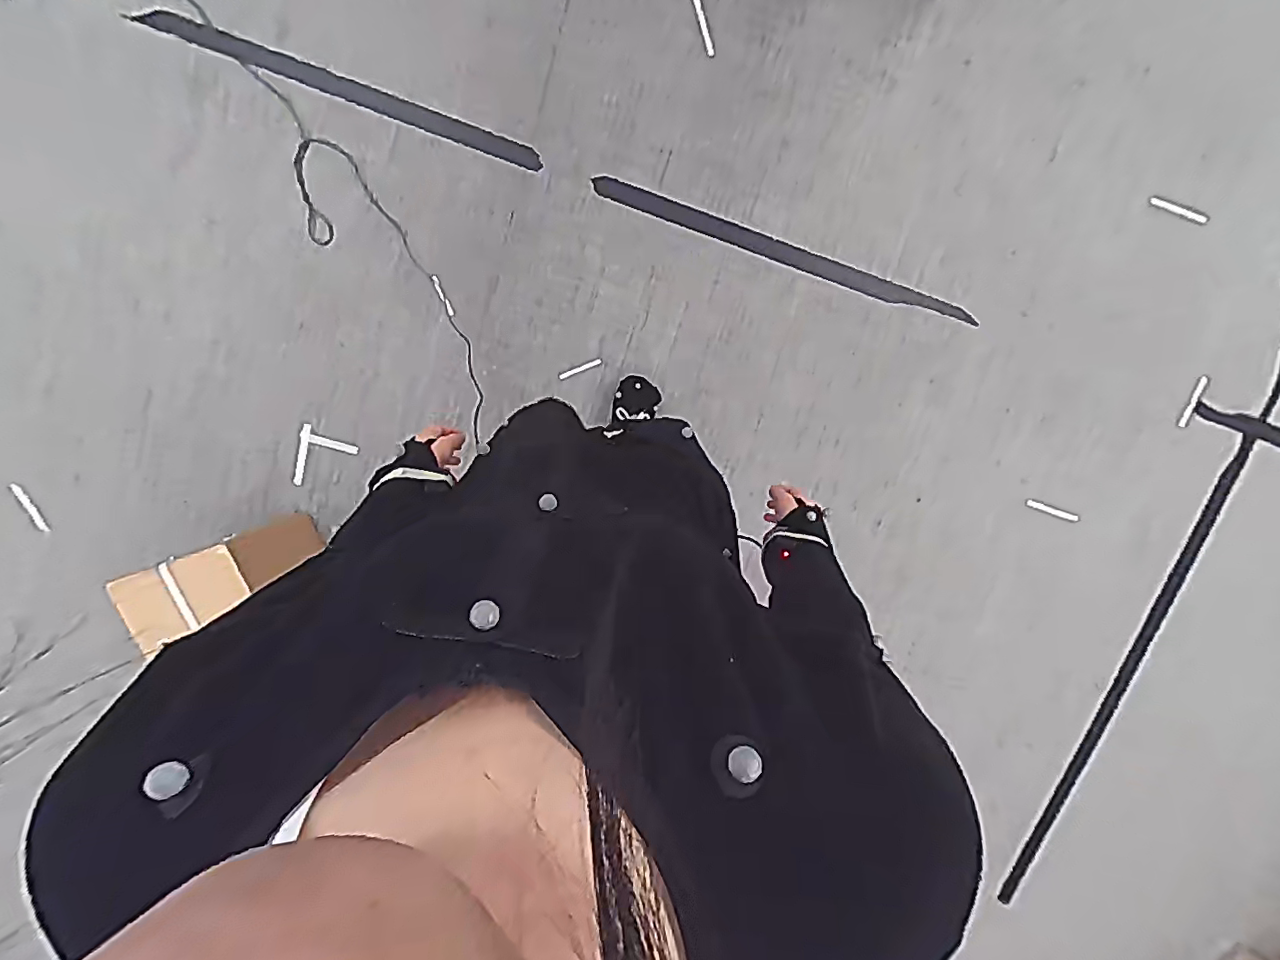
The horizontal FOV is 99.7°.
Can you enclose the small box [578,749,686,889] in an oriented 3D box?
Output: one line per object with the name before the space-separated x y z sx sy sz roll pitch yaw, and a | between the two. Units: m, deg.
small box | -0.015 0.718 1.170 0.168 0.176 0.179 -29 99 7
